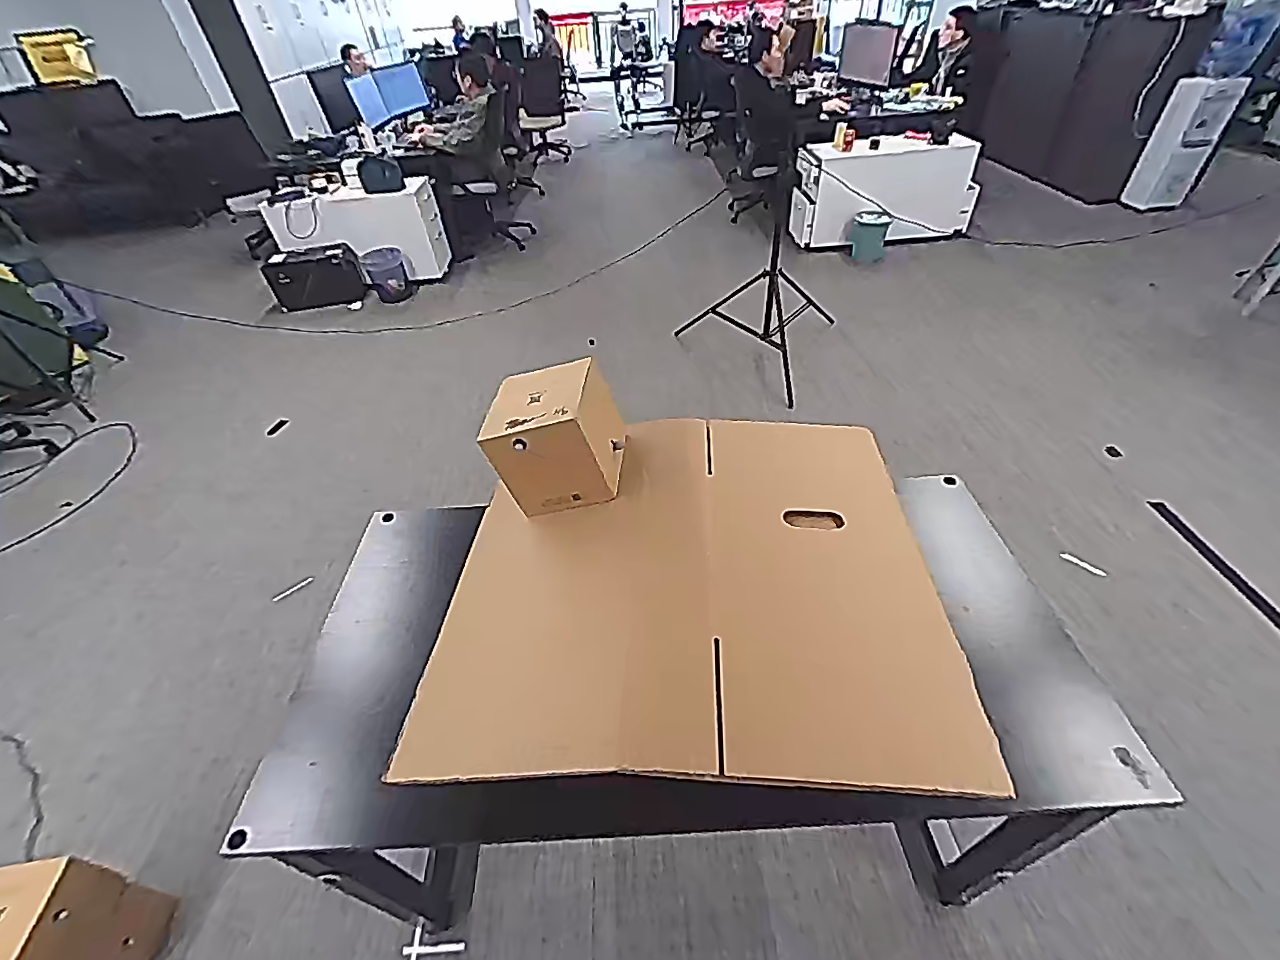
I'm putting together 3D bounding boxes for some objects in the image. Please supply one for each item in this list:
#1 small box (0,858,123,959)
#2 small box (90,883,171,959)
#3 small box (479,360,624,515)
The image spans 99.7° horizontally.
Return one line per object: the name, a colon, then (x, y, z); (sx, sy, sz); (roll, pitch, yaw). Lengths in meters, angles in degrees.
small box: (-1.172, 0.867, 1.043); (0.168, 0.176, 0.179); (-8, 41, -5)
small box: (-1.160, 0.990, 1.148); (0.168, 0.176, 0.179); (-7, 43, -2)
small box: (-0.133, -0.068, 0.896); (0.168, 0.176, 0.179); (-12, 39, 15)
